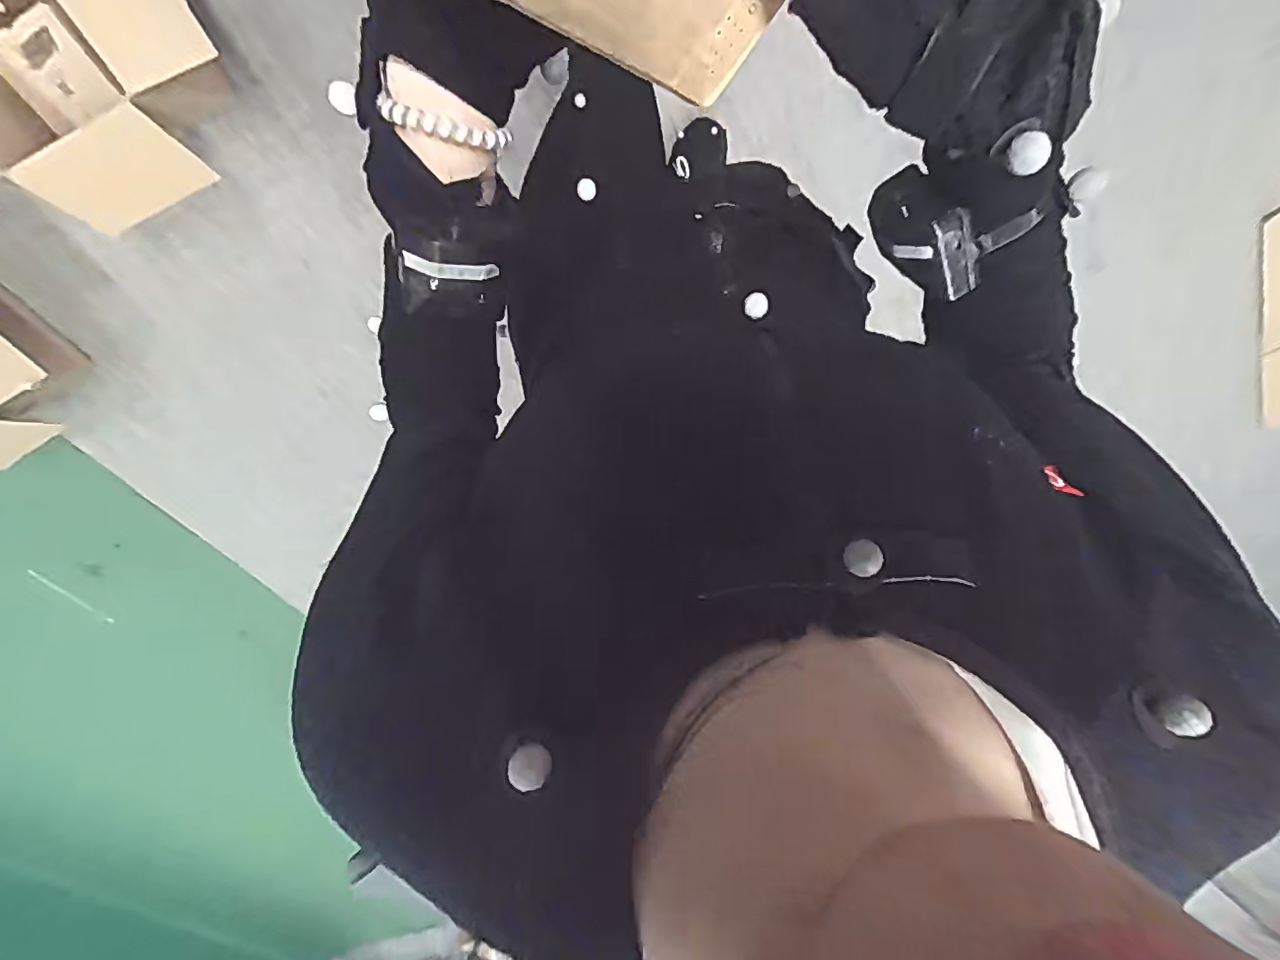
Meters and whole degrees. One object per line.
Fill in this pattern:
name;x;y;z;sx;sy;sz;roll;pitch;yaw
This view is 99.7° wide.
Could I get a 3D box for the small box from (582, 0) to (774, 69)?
small box;-0.010;-0.275;0.165;0.179;0.176;0.168;48;125;1
